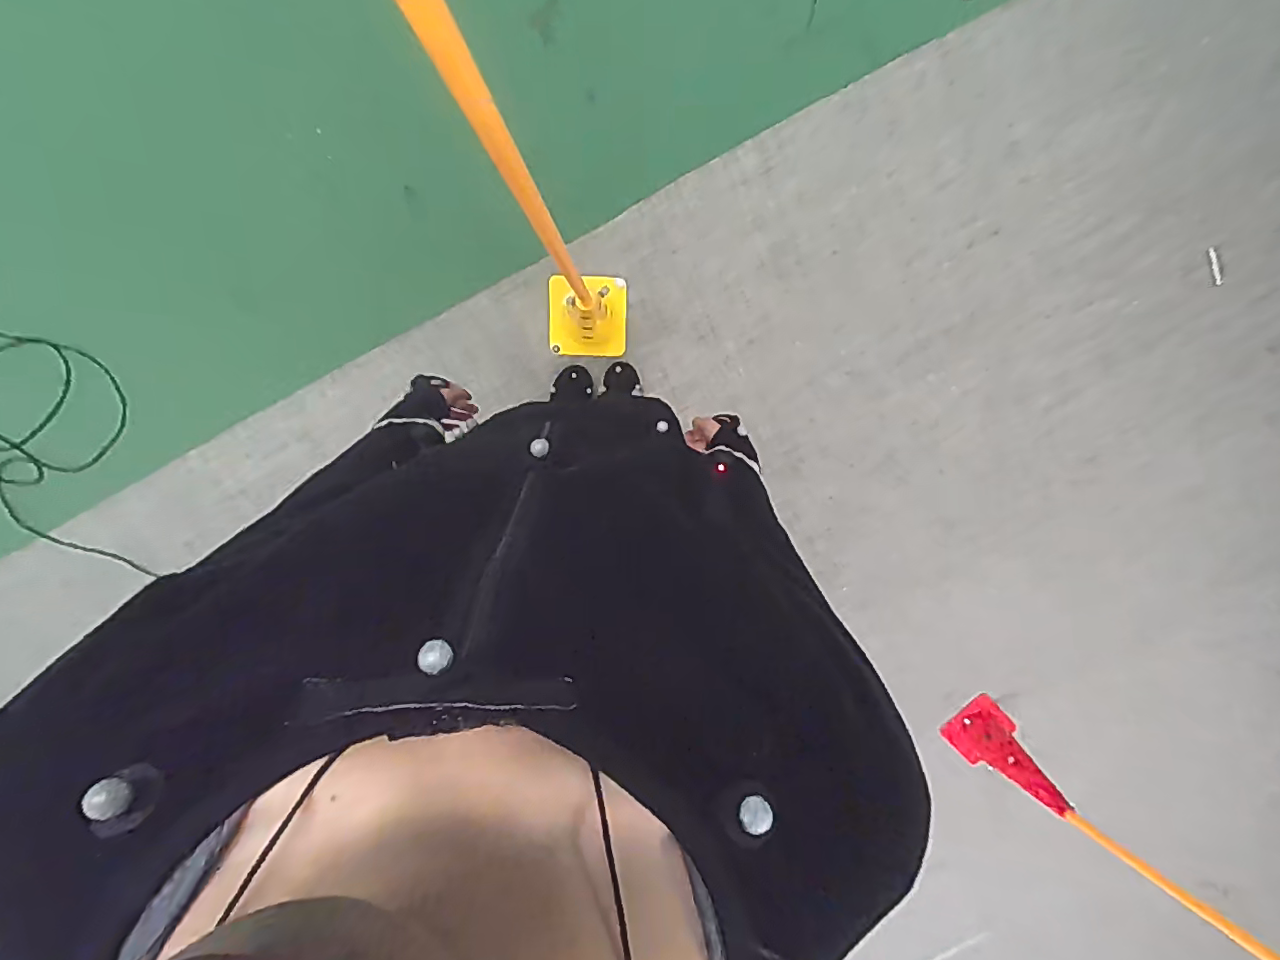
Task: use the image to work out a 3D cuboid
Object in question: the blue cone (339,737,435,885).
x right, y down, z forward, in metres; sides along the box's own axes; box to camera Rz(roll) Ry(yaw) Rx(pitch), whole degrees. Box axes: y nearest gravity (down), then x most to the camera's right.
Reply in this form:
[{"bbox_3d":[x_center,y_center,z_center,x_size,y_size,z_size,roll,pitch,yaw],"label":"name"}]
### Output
[{"bbox_3d":[-0.704,0.902,1.462,0.192,0.380,0.193,15,103,-9],"label":"blue cone"}]
